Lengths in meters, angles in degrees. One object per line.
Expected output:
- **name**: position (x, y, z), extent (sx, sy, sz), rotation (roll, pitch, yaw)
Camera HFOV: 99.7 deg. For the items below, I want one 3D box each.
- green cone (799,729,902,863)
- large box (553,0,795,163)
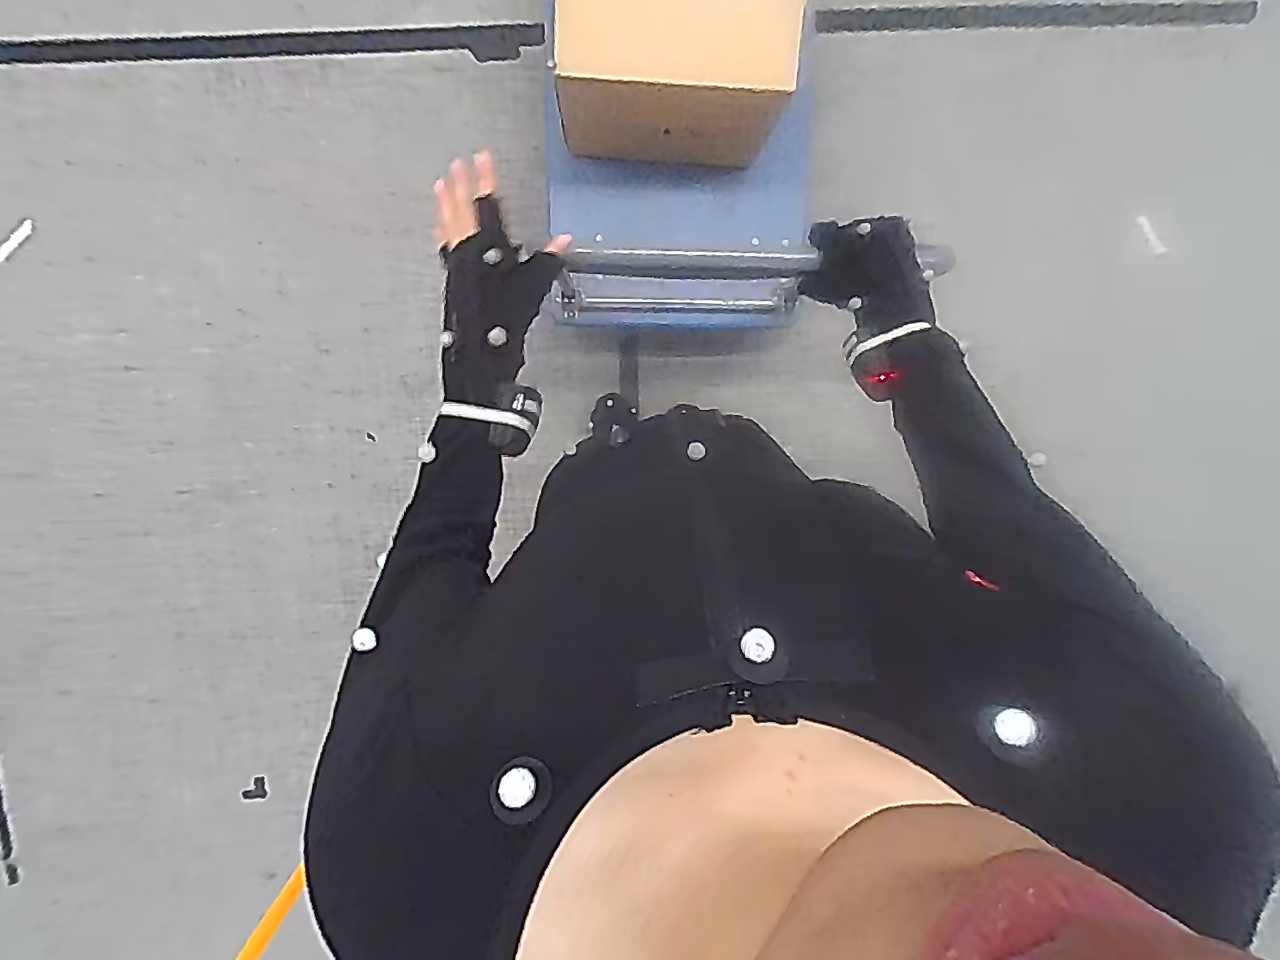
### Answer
- **green cone**: position (0.588, 0.867, 1.455), extent (0.202, 0.368, 0.200), rotation (1, 99, -3)
- **large box**: position (0.055, -0.828, 1.024), extent (0.408, 0.320, 0.320), rotation (2, 99, -2)
